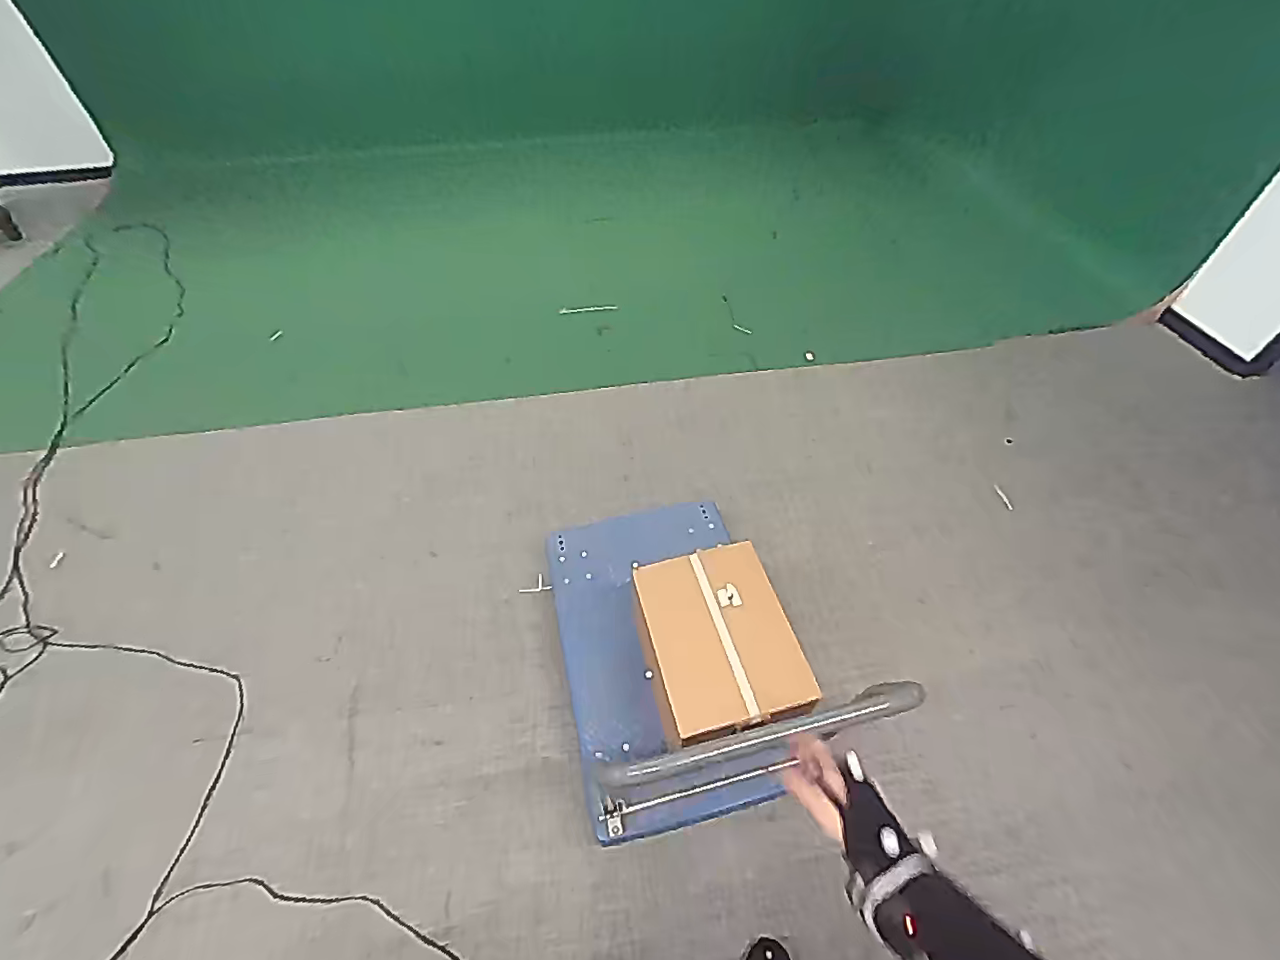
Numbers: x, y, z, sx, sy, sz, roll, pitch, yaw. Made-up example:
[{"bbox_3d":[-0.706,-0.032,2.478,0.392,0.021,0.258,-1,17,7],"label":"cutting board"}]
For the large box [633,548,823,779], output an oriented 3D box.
[{"bbox_3d":[0.186,0.444,1.326,0.320,0.320,0.408,-11,50,-10],"label":"large box"}]
